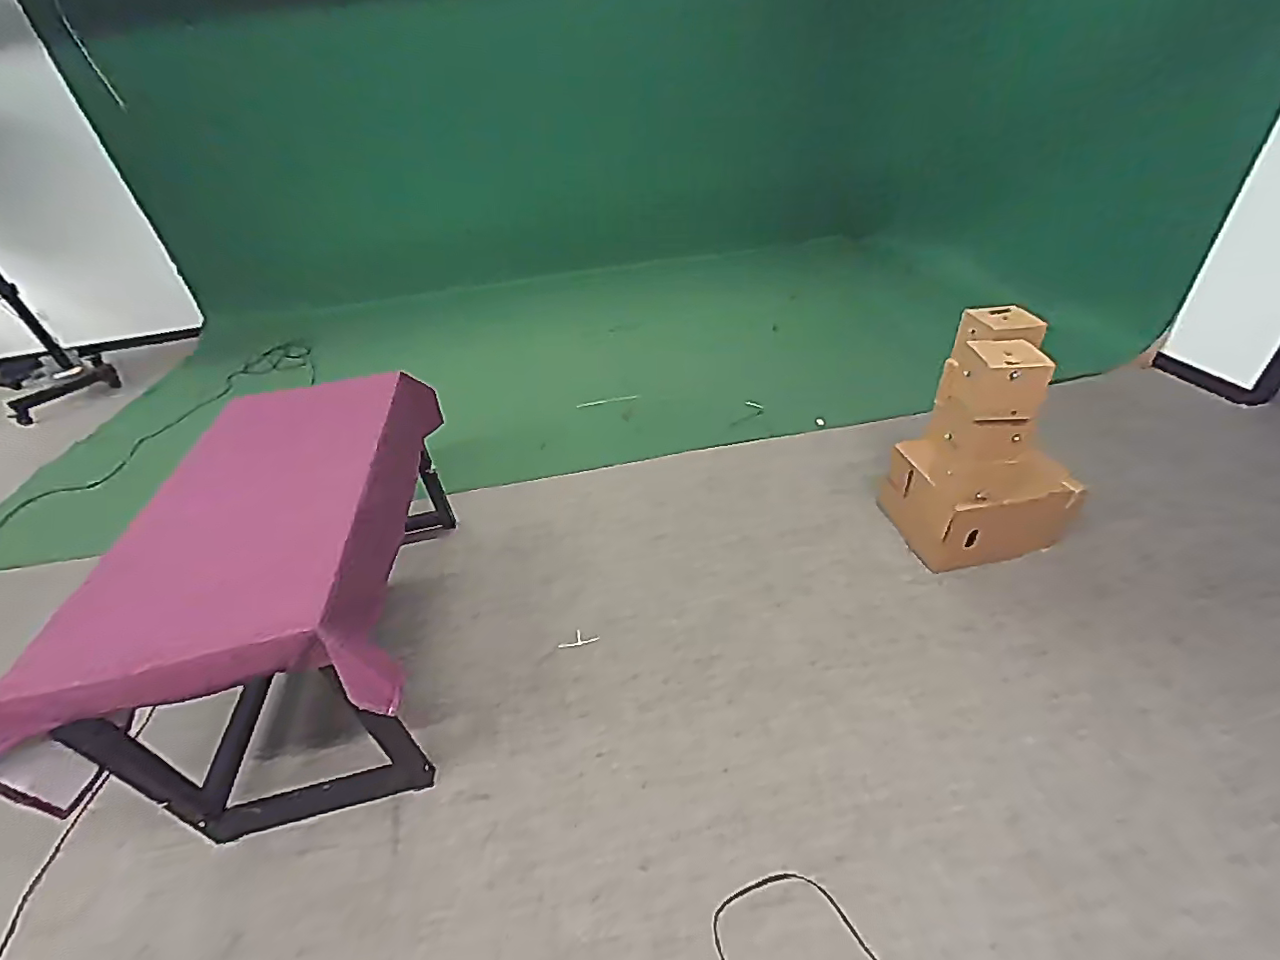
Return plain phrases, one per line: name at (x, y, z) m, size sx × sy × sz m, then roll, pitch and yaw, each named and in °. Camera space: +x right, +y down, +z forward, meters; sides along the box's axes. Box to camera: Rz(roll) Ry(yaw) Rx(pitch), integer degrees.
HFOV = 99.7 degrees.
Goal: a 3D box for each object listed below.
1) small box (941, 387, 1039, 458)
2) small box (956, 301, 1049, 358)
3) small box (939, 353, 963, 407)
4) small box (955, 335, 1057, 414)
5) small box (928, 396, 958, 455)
small box at (1.065, -0.182, 1.661) m, size 0.179 × 0.176 × 0.168 m, roll -4°, pitch 38°, yaw 3°
small box at (1.158, -0.463, 1.745) m, size 0.168 × 0.176 × 0.179 m, roll -6°, pitch 38°, yaw 0°
small box at (1.161, -0.332, 1.845) m, size 0.179 × 0.176 × 0.168 m, roll -9°, pitch 38°, yaw -3°
small box at (1.035, -0.302, 1.551) m, size 0.168 × 0.176 × 0.179 m, roll -1°, pitch 37°, yaw 7°
small box at (1.175, -0.201, 1.941) m, size 0.168 × 0.176 × 0.179 m, roll -9°, pitch 37°, yaw -6°
